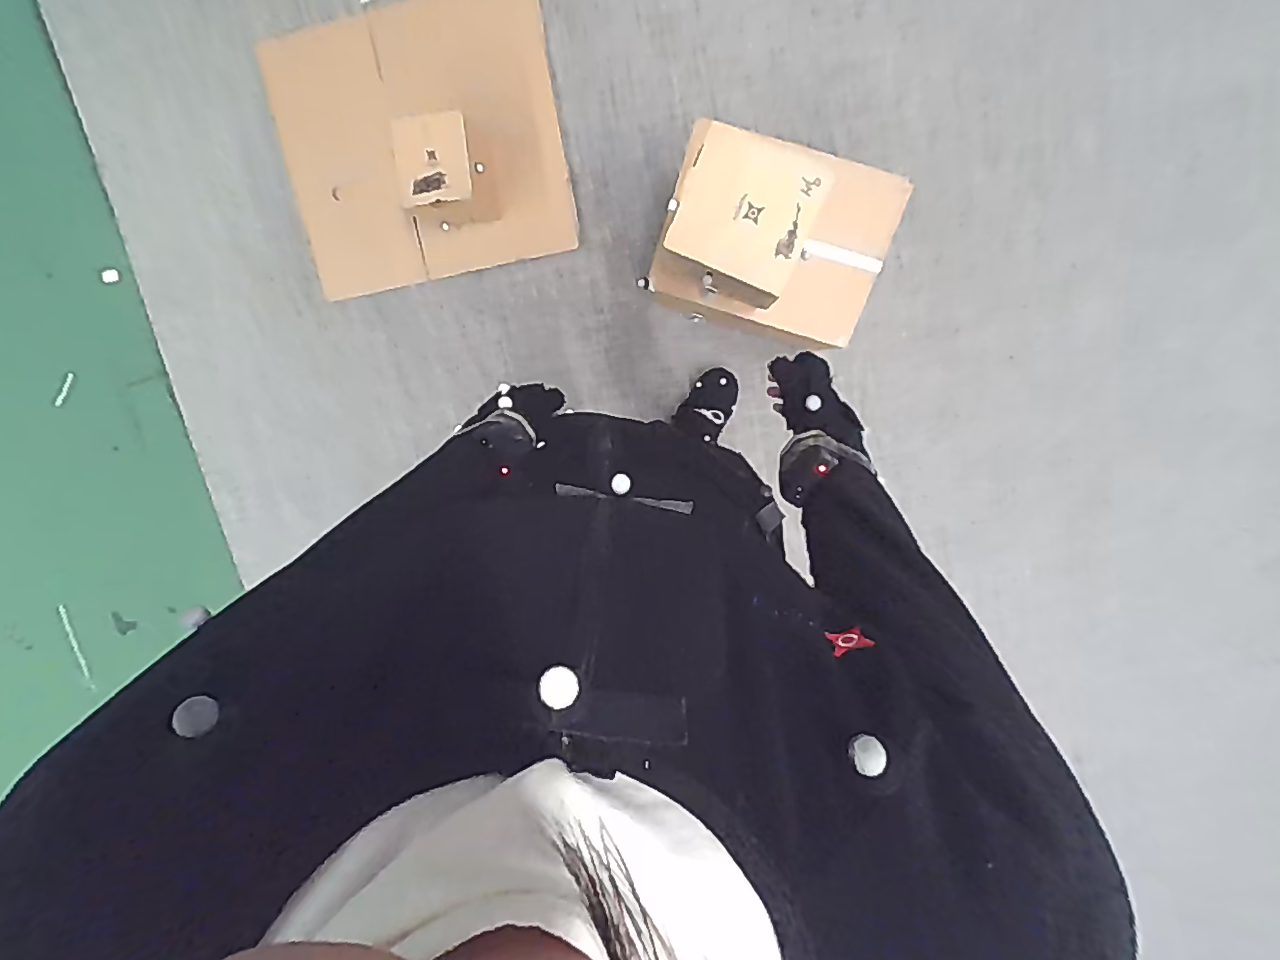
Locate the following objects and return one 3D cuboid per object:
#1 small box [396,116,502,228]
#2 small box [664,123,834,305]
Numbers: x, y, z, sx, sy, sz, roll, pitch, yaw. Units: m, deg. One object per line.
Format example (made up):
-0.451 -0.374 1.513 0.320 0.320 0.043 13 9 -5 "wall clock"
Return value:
-0.429 -0.694 1.243 0.168 0.176 0.179 -3 99 8 "small box"
0.147 -0.366 0.780 0.179 0.176 0.168 21 101 2 "small box"
